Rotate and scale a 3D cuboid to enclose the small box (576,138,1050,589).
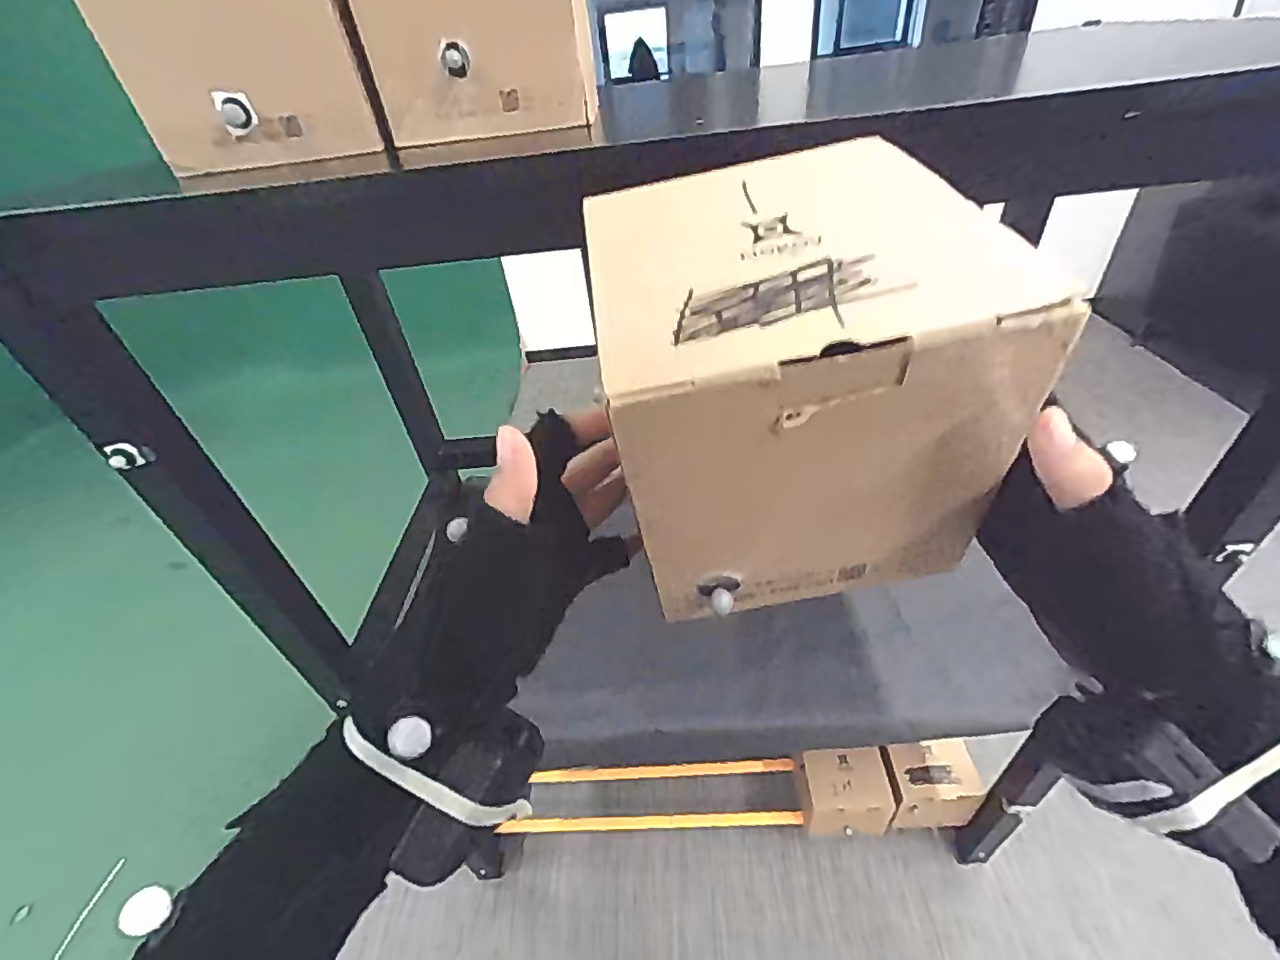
[{"bbox_3d":[0.066,-0.055,0.301,0.168,0.176,0.179,-11,47,2],"label":"small box"}]
